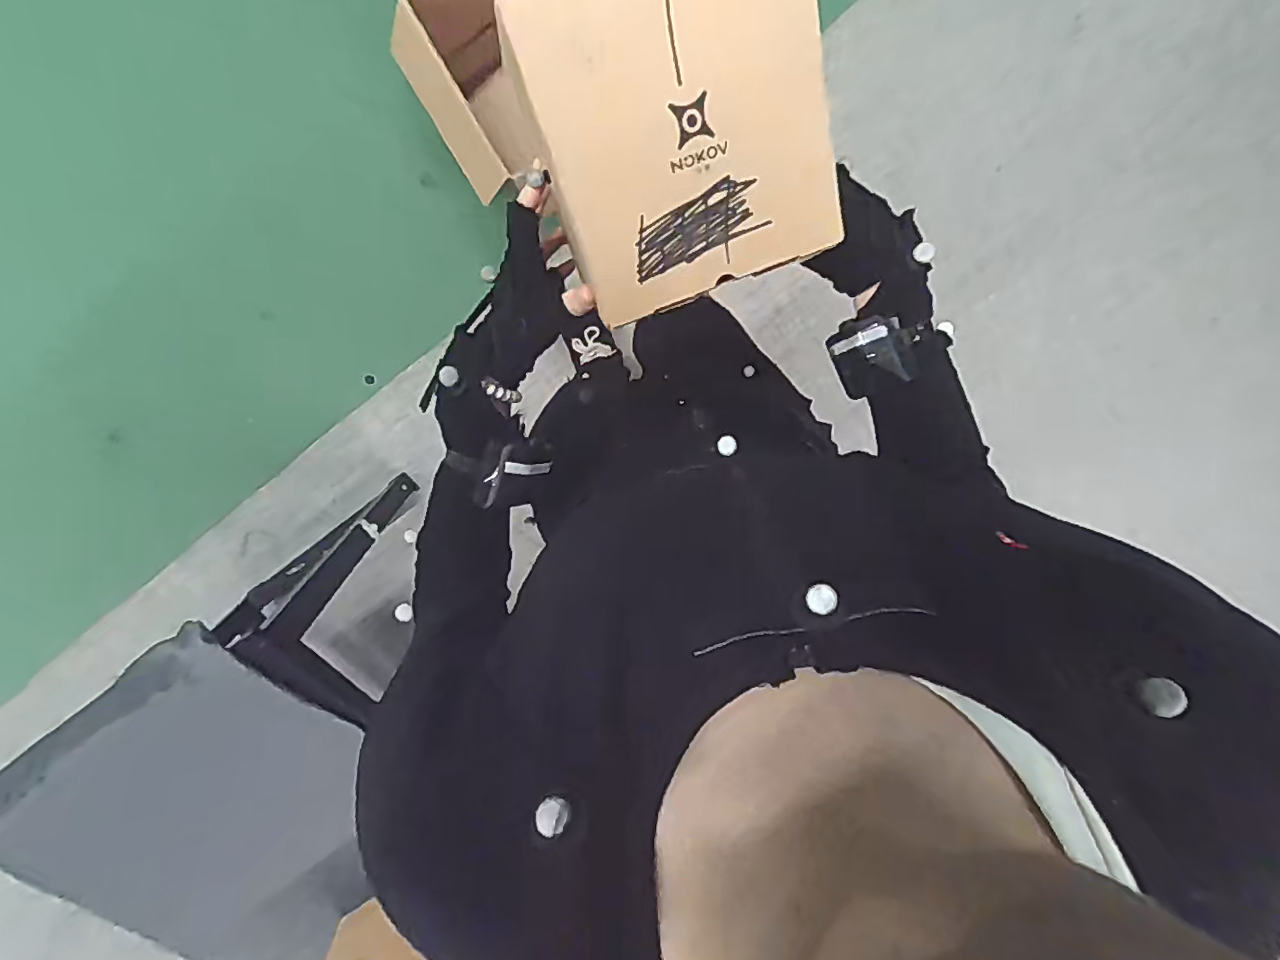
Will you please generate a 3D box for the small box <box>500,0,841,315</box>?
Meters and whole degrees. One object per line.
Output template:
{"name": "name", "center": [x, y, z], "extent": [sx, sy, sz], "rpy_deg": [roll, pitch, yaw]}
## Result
{"name": "small box", "center": [0.017, -0.242, 0.379], "extent": [0.168, 0.176, 0.179], "rpy_deg": [-21, 120, 0]}
